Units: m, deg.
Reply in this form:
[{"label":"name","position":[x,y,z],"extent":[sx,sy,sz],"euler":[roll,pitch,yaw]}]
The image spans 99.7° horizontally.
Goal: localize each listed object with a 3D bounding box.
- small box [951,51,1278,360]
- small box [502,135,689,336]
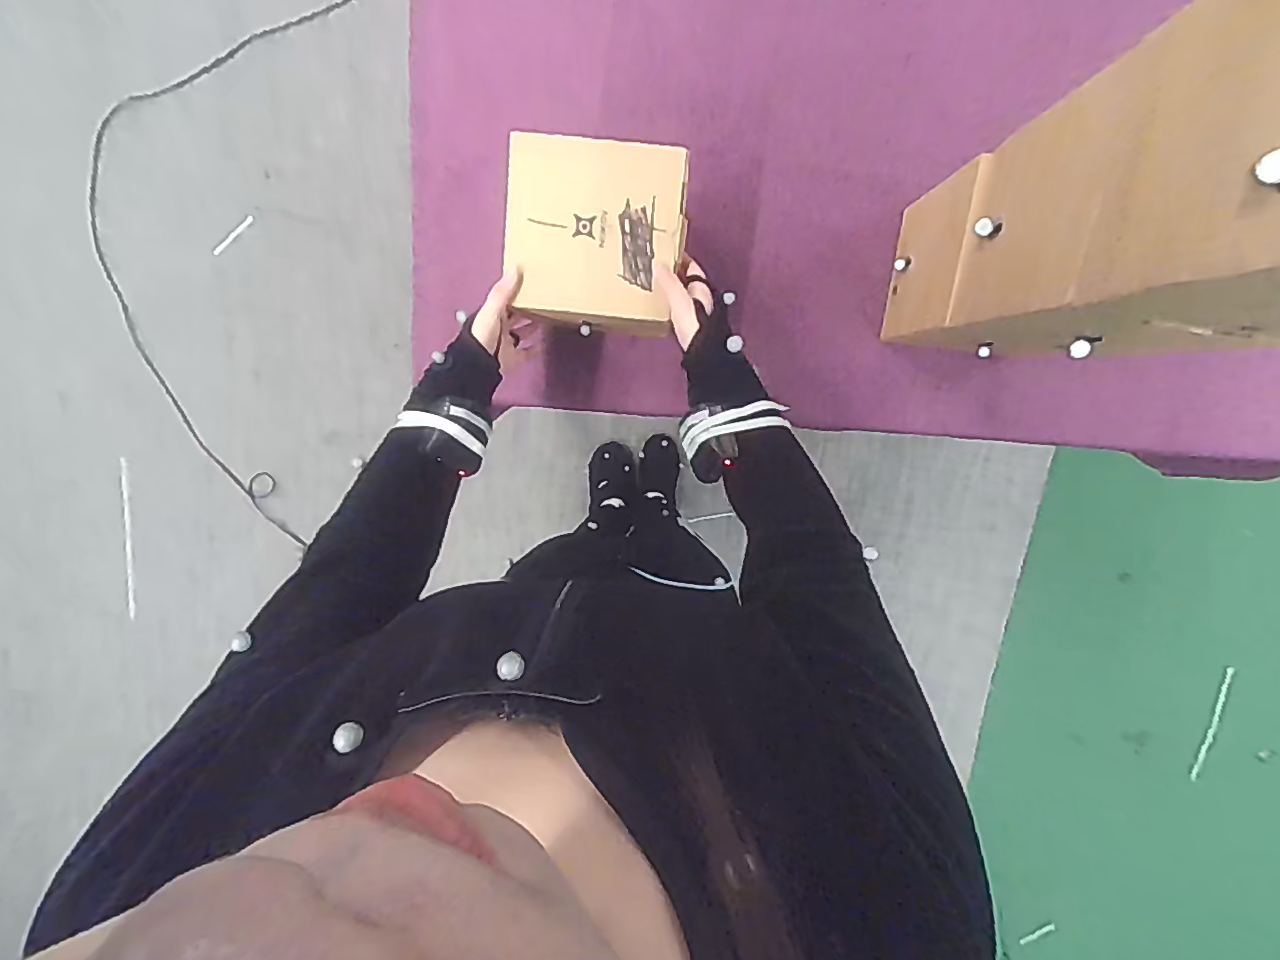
[{"label":"small box","position":[0.398,-0.201,0.454],"extent":[0.168,0.176,0.179],"euler":[11,100,-1]},{"label":"small box","position":[-0.045,-0.261,0.618],"extent":[0.179,0.176,0.168],"euler":[6,100,1]}]
